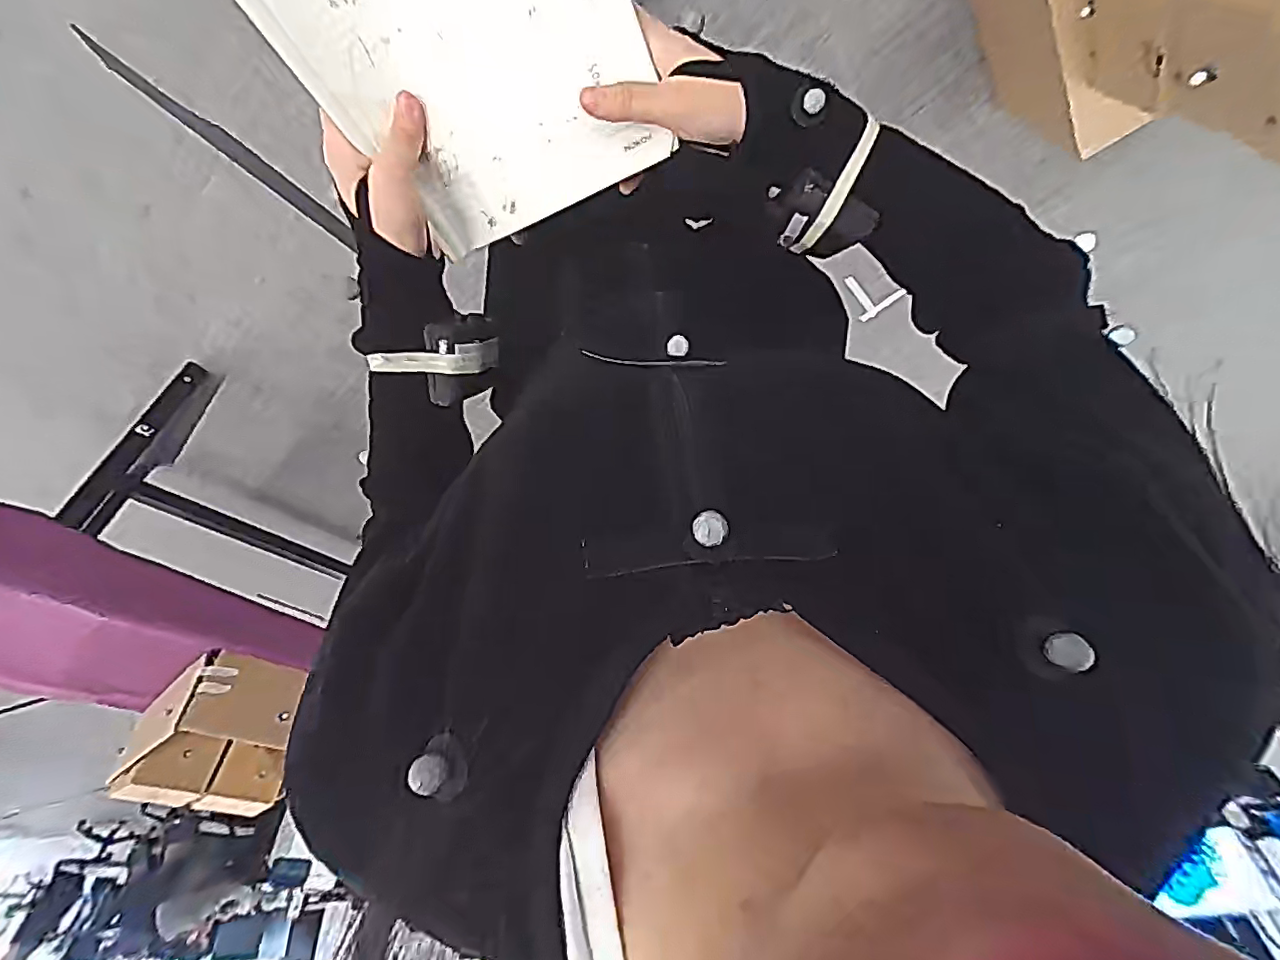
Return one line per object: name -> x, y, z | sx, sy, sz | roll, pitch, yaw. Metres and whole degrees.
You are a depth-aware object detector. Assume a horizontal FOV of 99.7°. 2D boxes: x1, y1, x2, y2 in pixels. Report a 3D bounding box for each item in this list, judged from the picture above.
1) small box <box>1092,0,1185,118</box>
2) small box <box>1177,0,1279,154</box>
small box -> 0.751, -0.642, 0.729 | 0.179, 0.176, 0.168 | -28, 132, 25
small box -> 0.763, -0.525, 0.614 | 0.179, 0.176, 0.168 | -29, 132, 28
